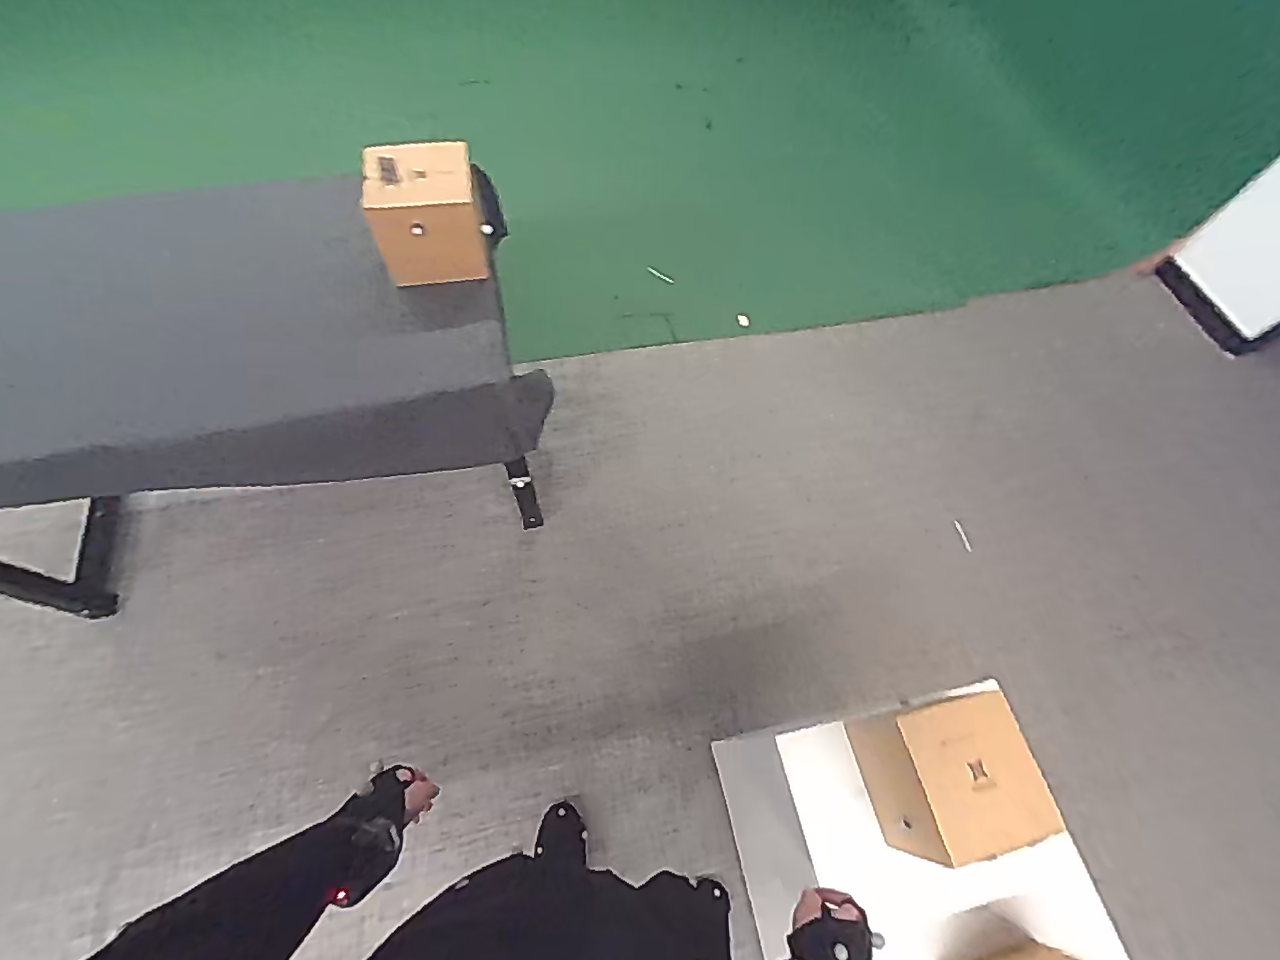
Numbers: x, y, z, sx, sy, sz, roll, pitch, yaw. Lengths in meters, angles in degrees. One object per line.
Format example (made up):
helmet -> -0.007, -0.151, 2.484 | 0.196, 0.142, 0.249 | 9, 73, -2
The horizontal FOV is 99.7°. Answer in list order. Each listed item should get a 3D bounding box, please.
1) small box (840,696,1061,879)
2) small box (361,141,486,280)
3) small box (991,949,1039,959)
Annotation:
small box -> 0.417, 0.420, 0.760 | 0.168, 0.176, 0.179 | -9, 64, -14
small box -> -0.384, -0.483, 0.982 | 0.179, 0.176, 0.168 | -7, 64, -11
small box -> 0.484, 0.693, 0.622 | 0.168, 0.176, 0.179 | -7, 63, -12
